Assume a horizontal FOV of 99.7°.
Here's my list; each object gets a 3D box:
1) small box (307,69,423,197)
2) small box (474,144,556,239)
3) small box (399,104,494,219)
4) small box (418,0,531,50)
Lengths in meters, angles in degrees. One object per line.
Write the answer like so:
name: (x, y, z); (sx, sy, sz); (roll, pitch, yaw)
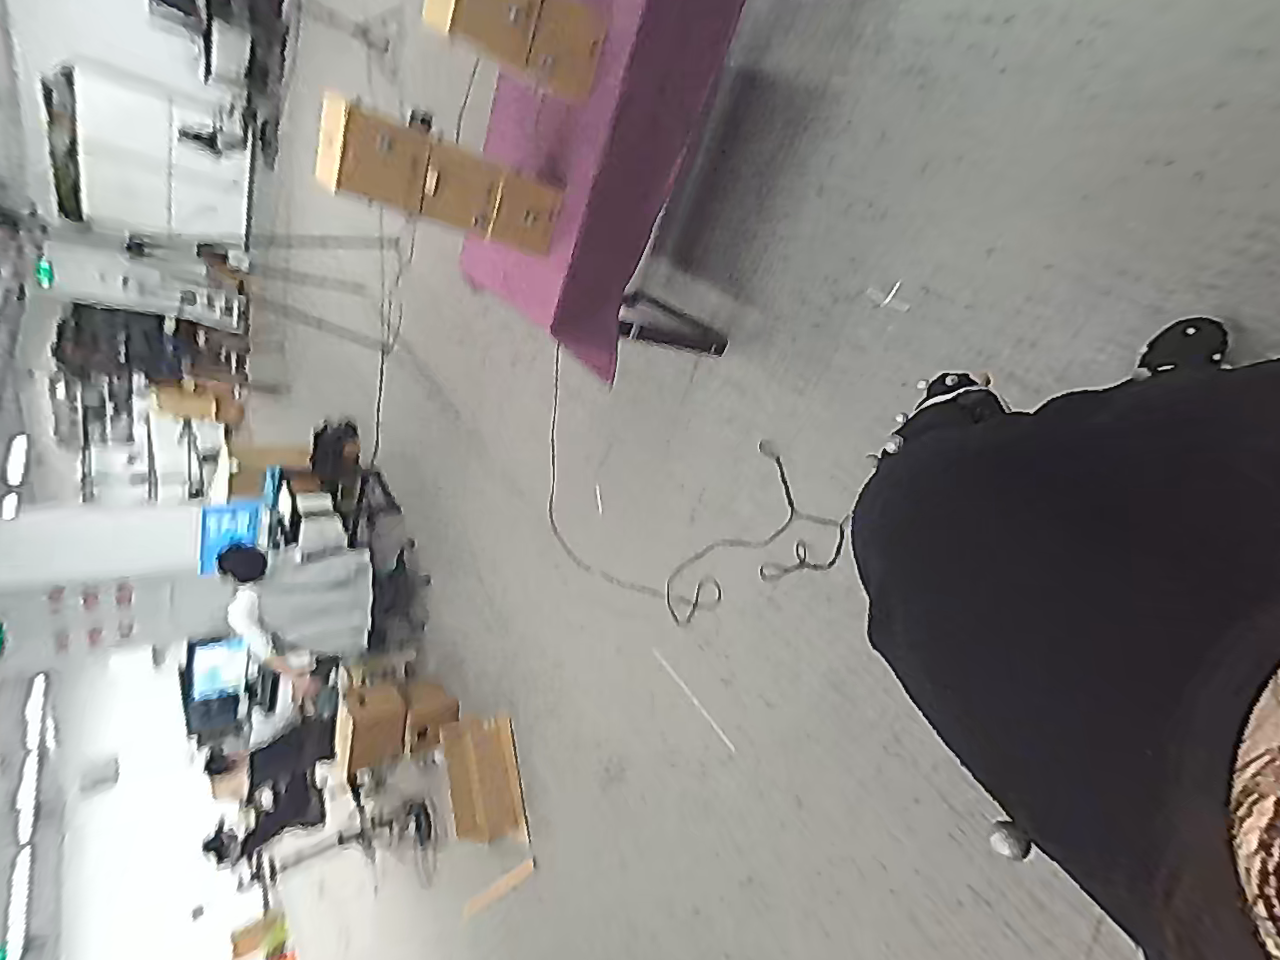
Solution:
small box: (-0.572, -0.714, 1.126); (0.179, 0.176, 0.168); (44, 121, 36)
small box: (-0.335, -0.723, 1.353); (0.179, 0.176, 0.168); (44, 121, 34)
small box: (-0.457, -0.723, 1.241); (0.179, 0.176, 0.168); (46, 123, 35)
small box: (-0.332, -1.014, 1.094); (0.179, 0.176, 0.168); (47, 124, 34)
